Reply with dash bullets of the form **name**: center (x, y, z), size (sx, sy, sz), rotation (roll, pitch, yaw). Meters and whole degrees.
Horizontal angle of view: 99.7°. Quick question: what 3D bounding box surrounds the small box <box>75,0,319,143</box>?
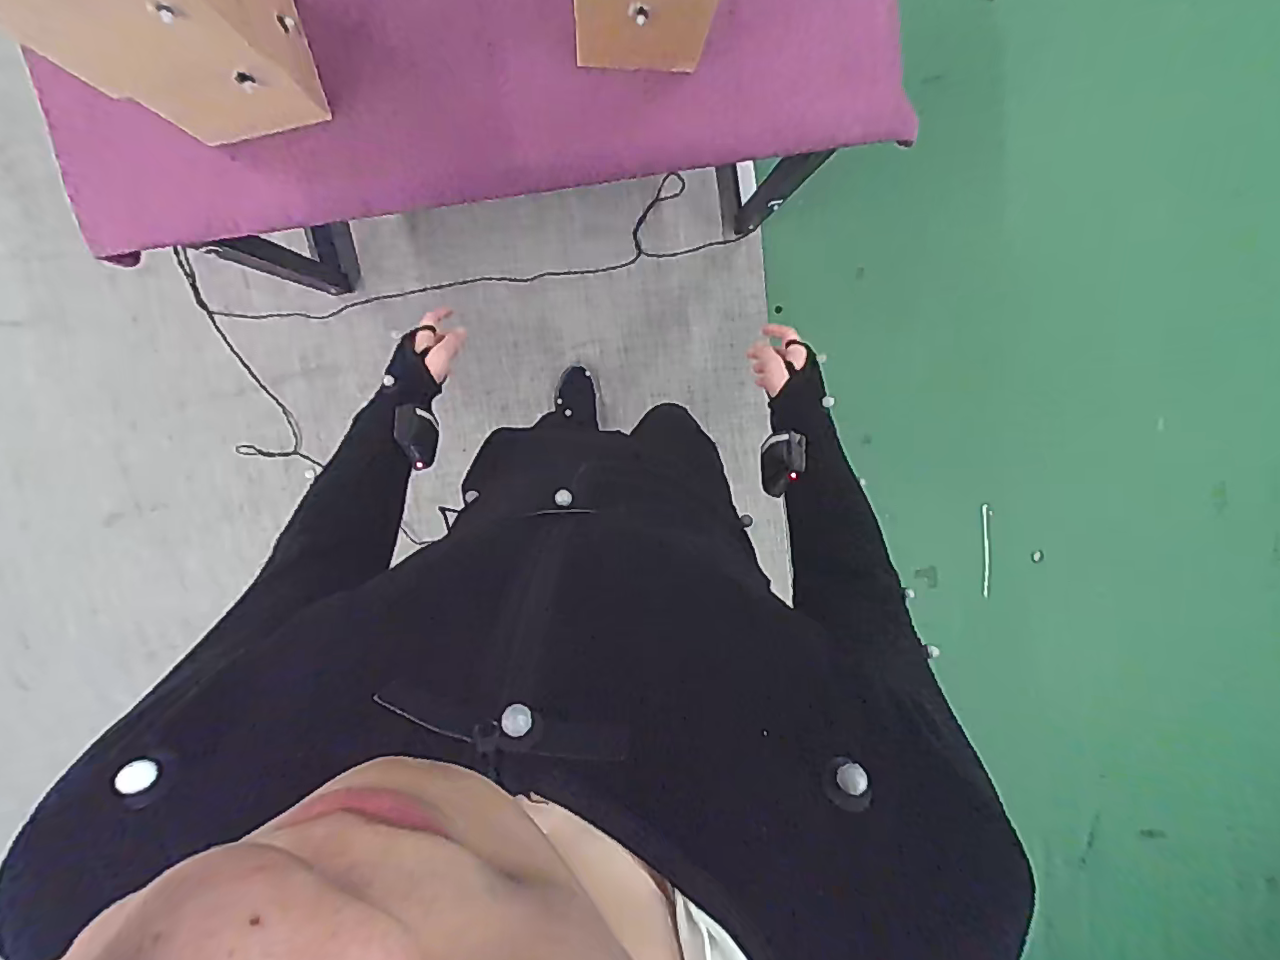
- **small box**: center (-0.530, -0.550, 0.663), size (0.179, 0.176, 0.168), rotation (-15, 101, -2)

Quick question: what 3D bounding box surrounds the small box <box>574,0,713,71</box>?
- **small box**: center (0.003, -0.661, 0.690), size (0.179, 0.176, 0.168), rotation (0, 100, -5)
